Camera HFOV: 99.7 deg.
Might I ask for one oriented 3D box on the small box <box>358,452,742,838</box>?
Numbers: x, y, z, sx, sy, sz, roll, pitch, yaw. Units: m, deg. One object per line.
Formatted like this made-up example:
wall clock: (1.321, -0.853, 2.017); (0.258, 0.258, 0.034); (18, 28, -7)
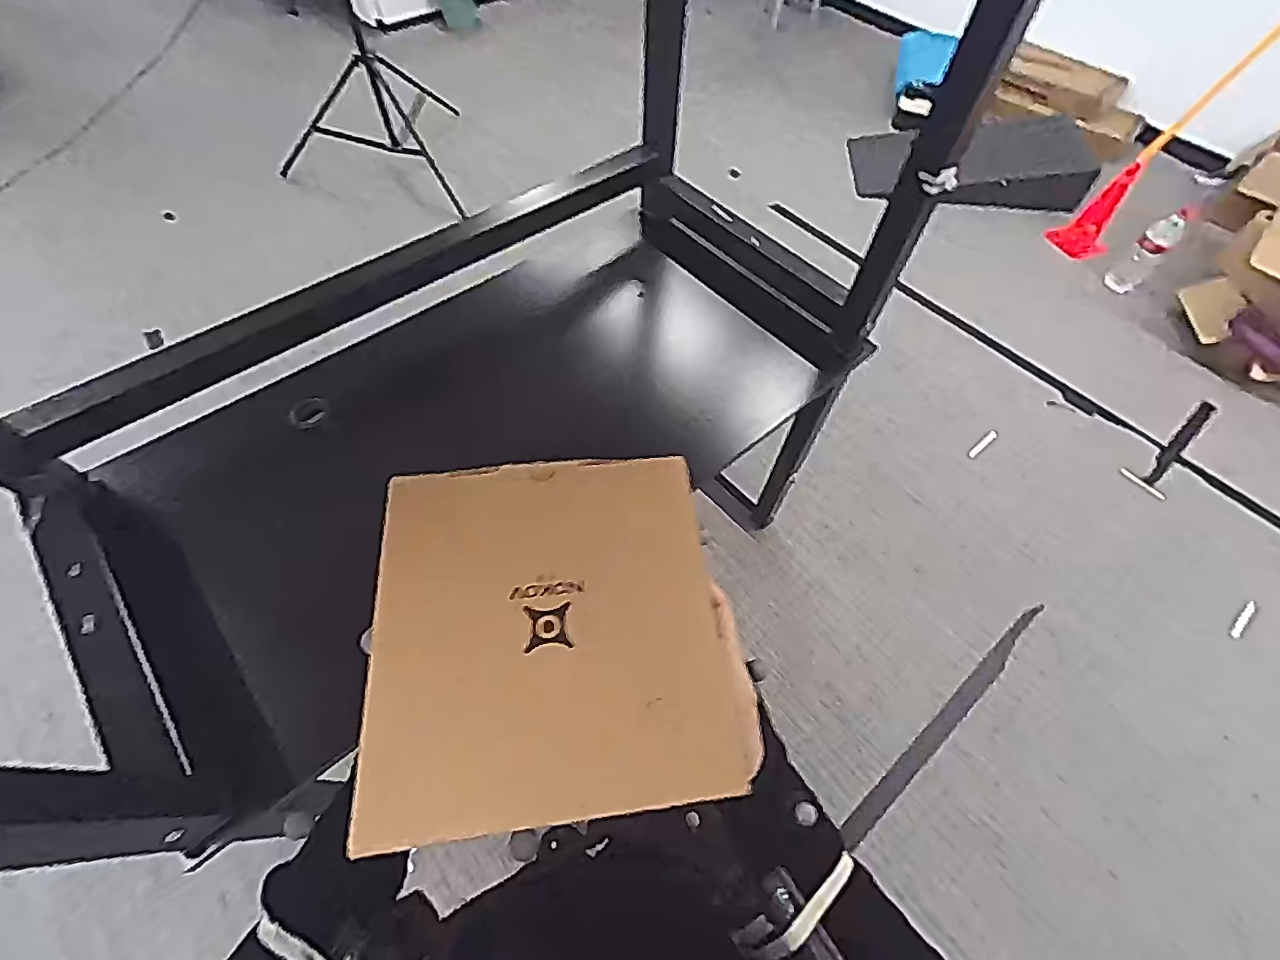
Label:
small box: (-0.048, 0.104, 0.336); (0.168, 0.176, 0.179); (-4, 59, -6)
